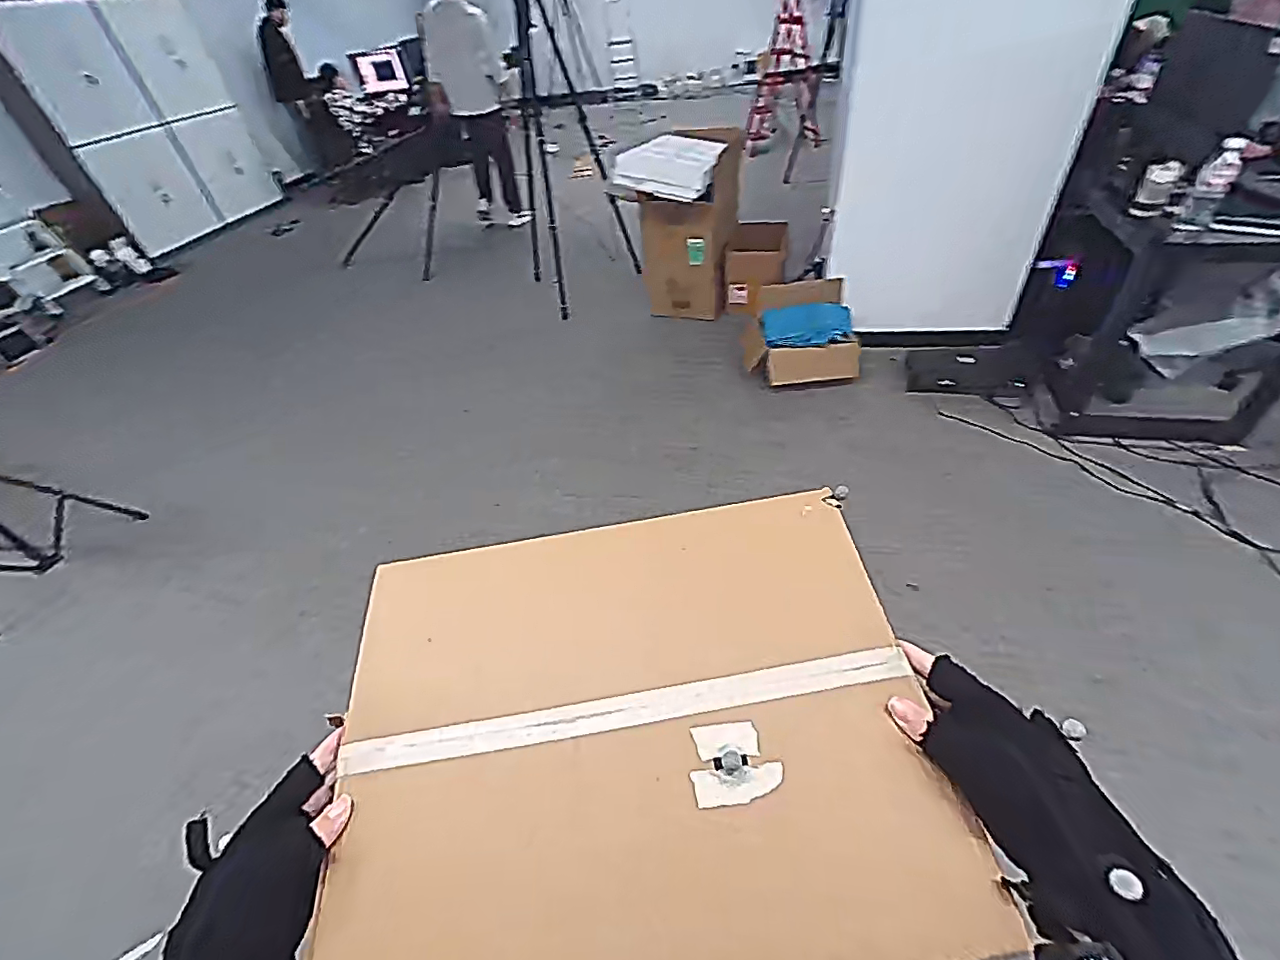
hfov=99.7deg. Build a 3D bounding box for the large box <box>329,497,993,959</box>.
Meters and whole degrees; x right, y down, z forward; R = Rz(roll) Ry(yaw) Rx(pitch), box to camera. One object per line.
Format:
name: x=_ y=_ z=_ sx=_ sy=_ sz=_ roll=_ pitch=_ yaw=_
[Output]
large box: x=0.002 y=0.259 z=0.515 sx=0.408 sy=0.320 sz=0.320 roll=-10 pitch=53 yaw=-1
